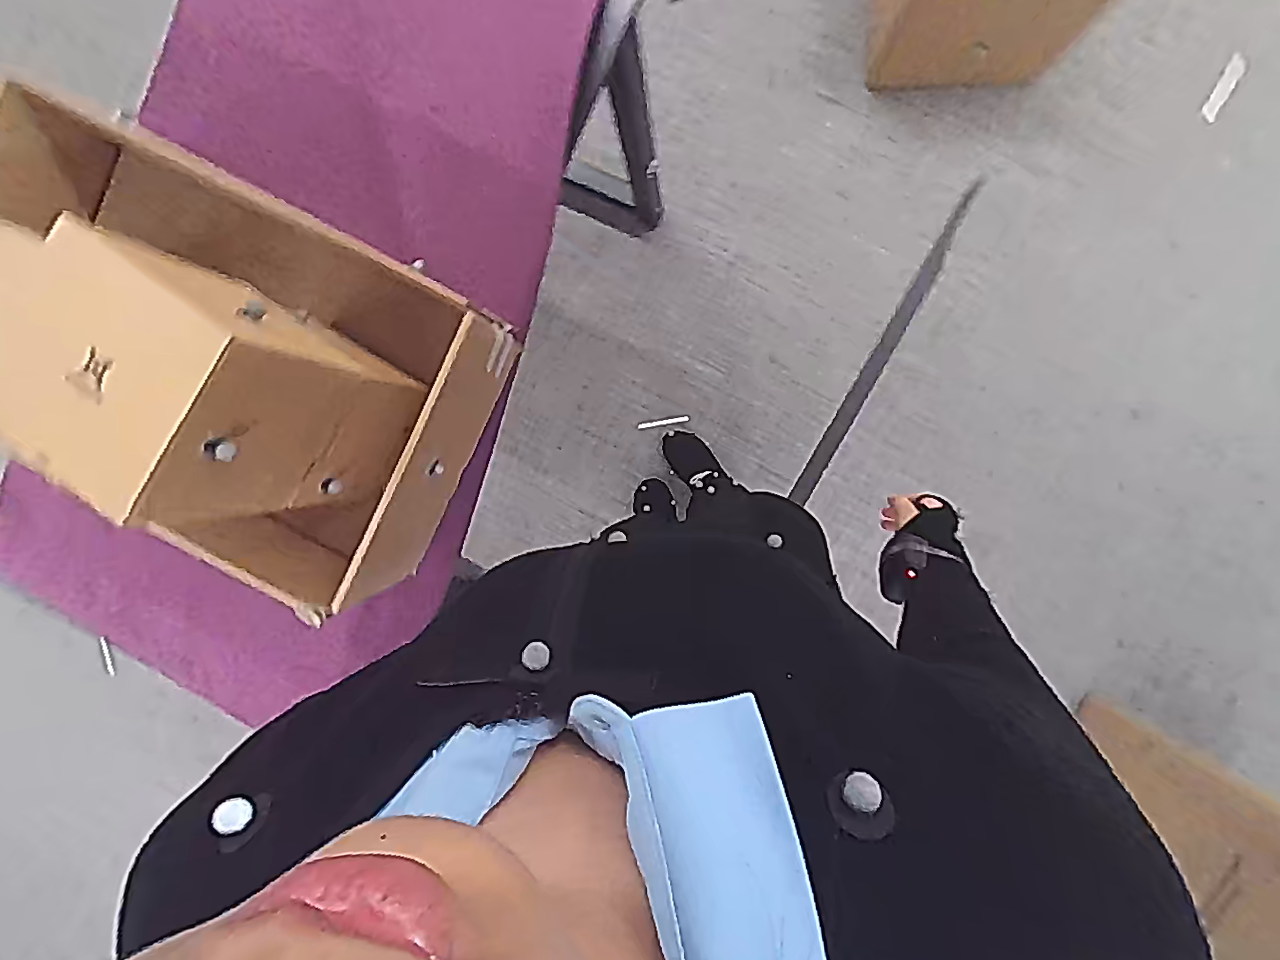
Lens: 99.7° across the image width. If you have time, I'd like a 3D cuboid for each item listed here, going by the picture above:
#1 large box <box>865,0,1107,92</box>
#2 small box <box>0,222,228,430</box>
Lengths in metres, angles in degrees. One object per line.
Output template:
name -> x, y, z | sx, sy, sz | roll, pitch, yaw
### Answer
large box -> 0.748, -1.113, 1.182 | 0.408, 0.320, 0.320 | 1, 93, 6
small box -> -0.655, -0.172, 0.656 | 0.168, 0.176, 0.179 | 24, 94, 2
